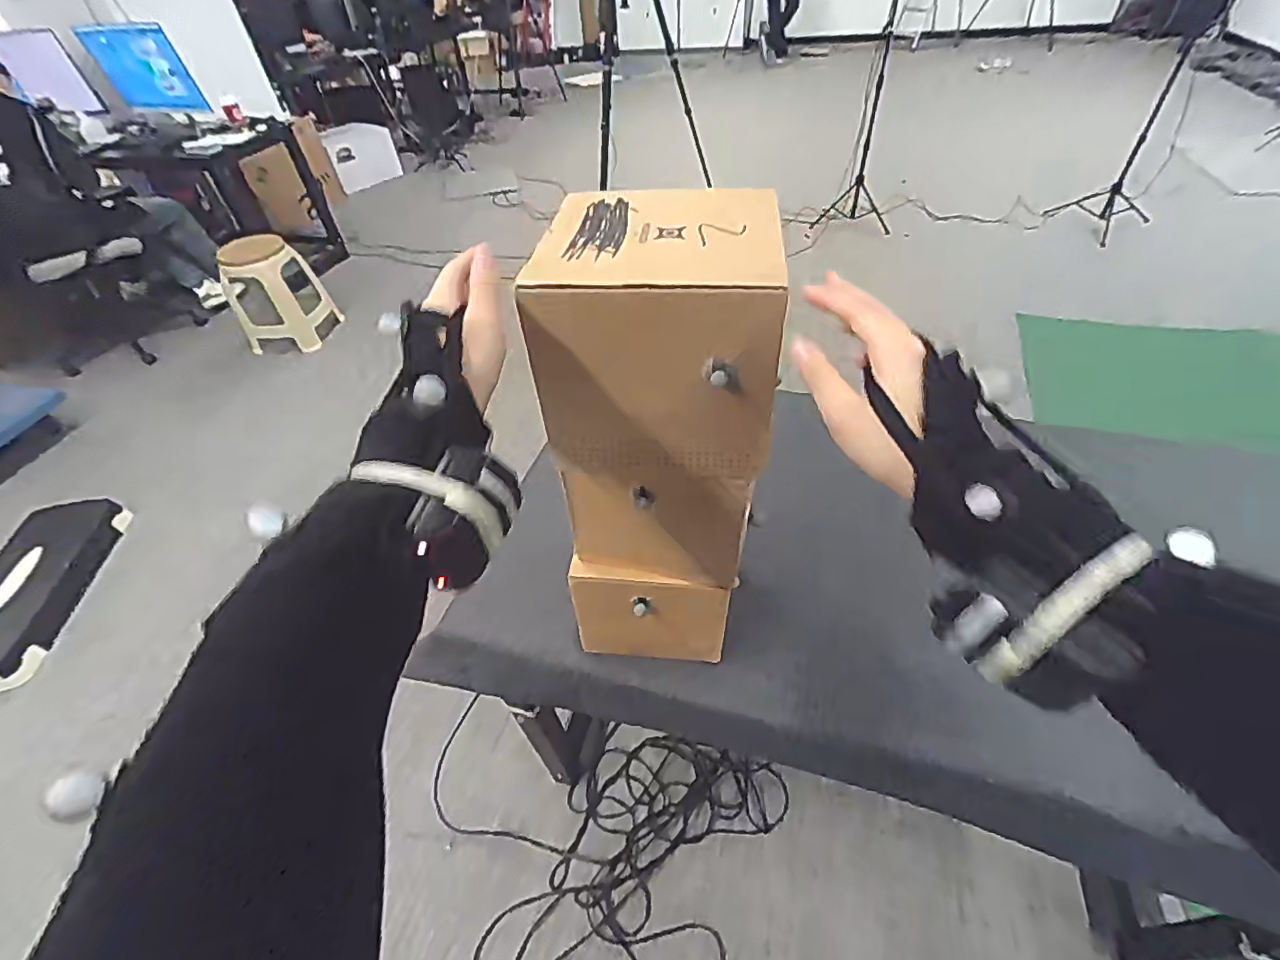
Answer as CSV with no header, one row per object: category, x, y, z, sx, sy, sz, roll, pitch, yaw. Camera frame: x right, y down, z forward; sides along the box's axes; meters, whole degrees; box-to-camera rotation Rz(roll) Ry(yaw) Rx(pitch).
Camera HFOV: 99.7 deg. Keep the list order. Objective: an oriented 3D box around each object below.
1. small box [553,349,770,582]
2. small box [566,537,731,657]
small box,0.030,-0.014,0.568,0.179,0.176,0.168,10,48,12
small box,0.020,0.107,0.678,0.179,0.176,0.168,3,46,7
